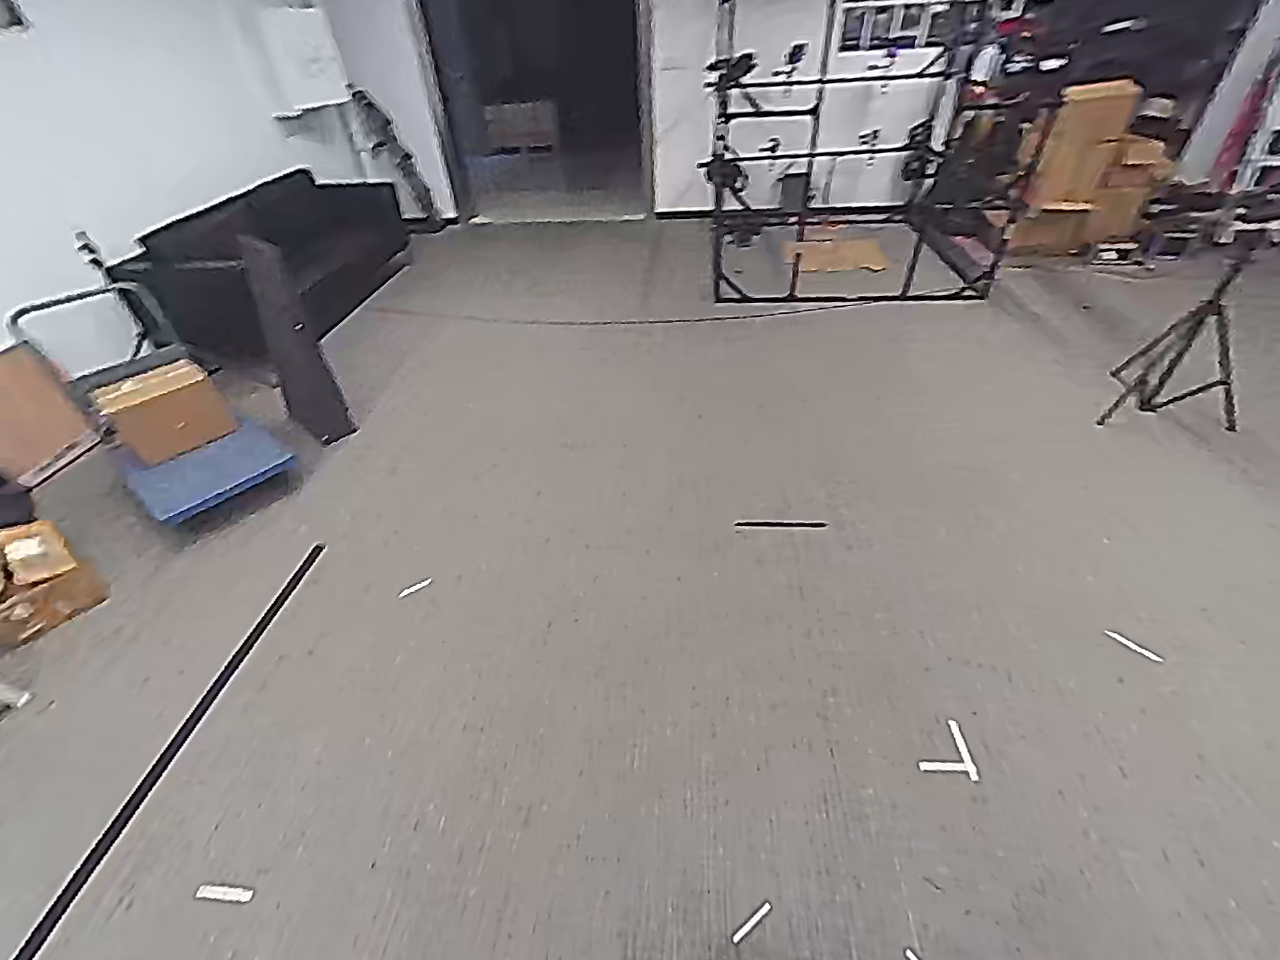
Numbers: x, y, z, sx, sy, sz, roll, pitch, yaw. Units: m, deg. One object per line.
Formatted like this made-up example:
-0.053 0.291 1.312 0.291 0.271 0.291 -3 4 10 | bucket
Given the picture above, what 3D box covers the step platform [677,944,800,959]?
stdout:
0.202 1.269 0.955 0.286 0.204 0.684 0 39 4 | step platform
